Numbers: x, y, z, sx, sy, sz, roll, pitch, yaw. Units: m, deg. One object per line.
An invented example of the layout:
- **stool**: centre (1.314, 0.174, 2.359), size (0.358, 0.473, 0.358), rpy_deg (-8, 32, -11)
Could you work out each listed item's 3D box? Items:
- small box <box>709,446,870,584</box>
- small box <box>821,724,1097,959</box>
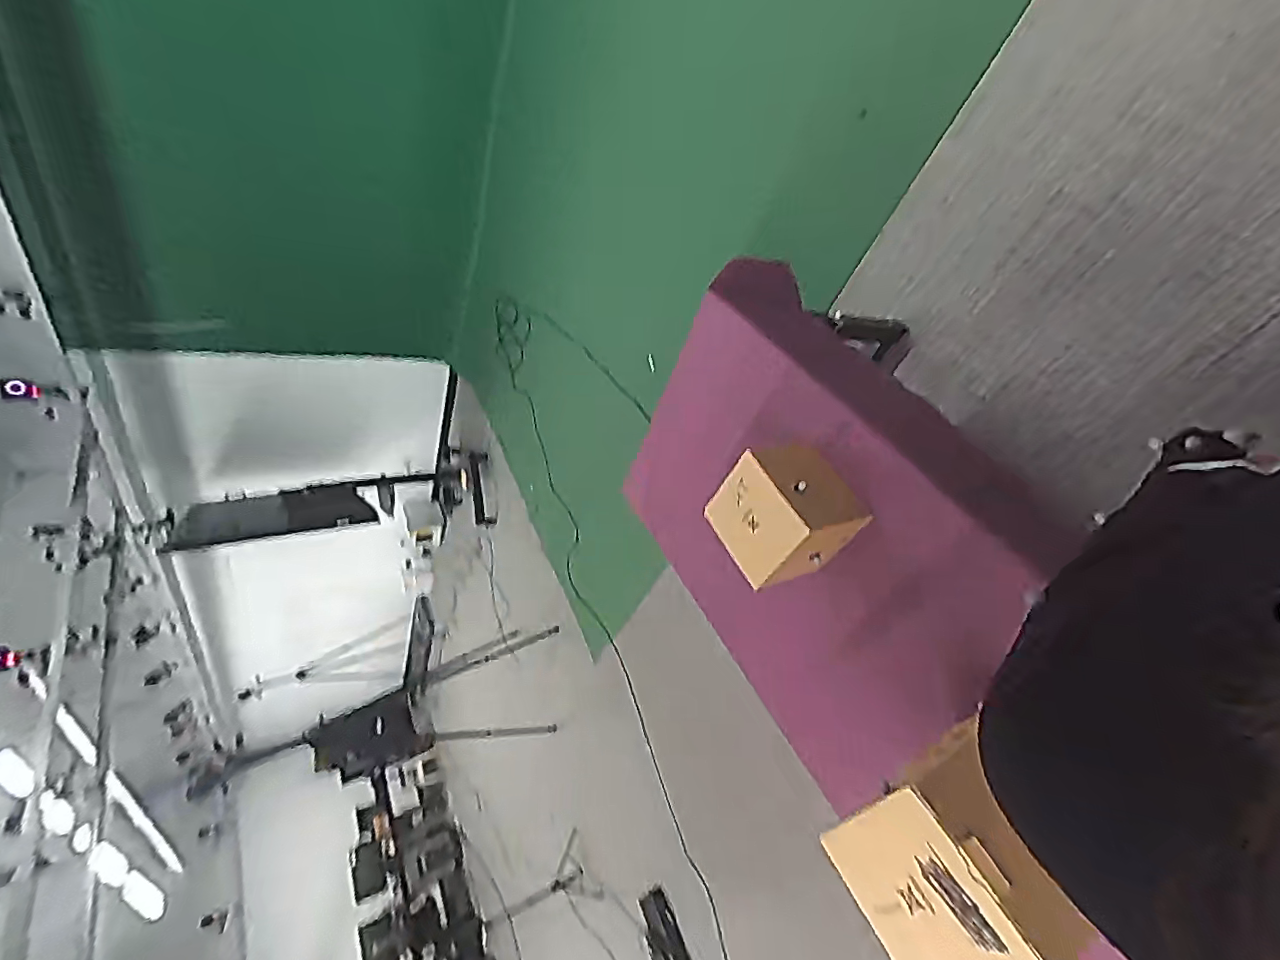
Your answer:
- **small box**: centre (0.260, 0.053, 0.949), size (0.179, 0.176, 0.168), rpy_deg (60, 140, 31)
- **small box**: centre (0.345, 0.399, 0.591), size (0.168, 0.176, 0.179), rpy_deg (57, 140, 35)
